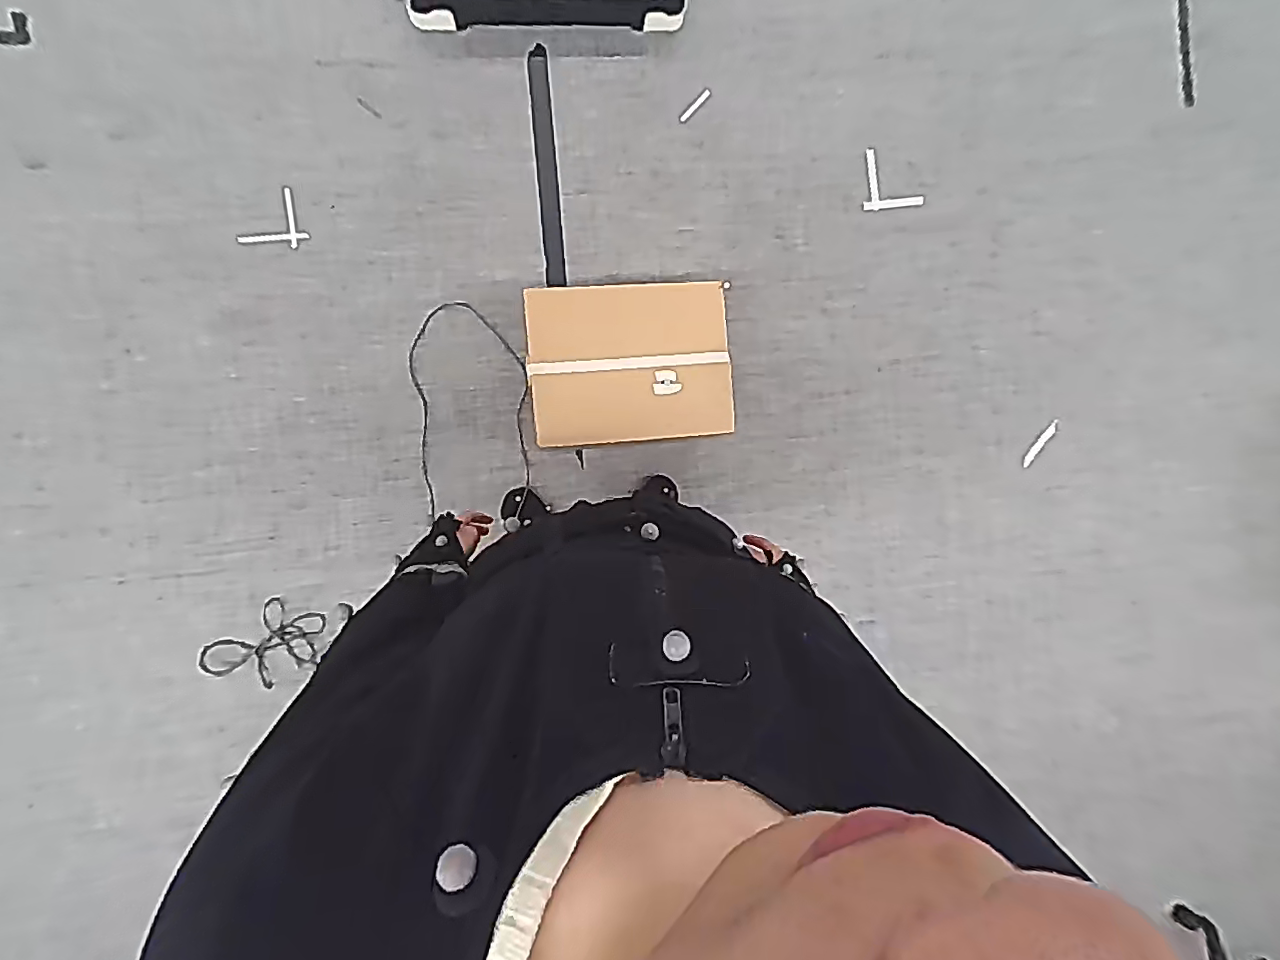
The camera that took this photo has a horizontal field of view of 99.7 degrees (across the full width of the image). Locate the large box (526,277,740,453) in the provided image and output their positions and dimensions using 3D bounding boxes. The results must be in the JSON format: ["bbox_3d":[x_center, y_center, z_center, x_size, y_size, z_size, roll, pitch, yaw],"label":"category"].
[{"bbox_3d":[-0.029,-0.236,1.205,0.408,0.320,0.320,-5,93,-8],"label":"large box"}]
